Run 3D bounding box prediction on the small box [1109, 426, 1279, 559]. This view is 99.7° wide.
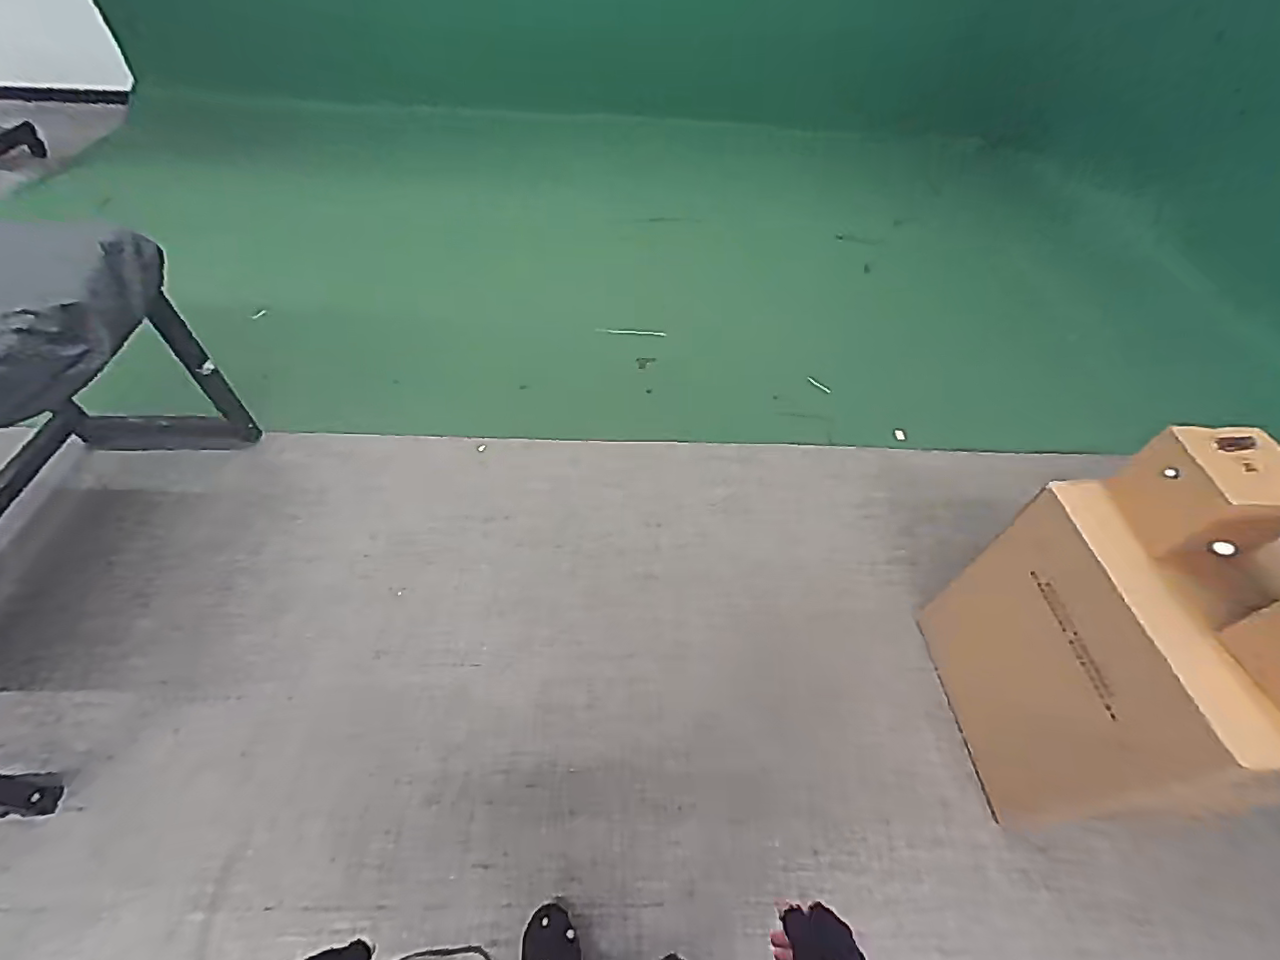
[{"bbox_3d":[1.014,0.022,0.974,0.168,0.176,0.179,0,51,1],"label":"small box"}]

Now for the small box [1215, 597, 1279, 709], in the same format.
[{"bbox_3d":[1.035,0.256,0.786,0.168,0.176,0.179,-7,50,-8],"label":"small box"}]
